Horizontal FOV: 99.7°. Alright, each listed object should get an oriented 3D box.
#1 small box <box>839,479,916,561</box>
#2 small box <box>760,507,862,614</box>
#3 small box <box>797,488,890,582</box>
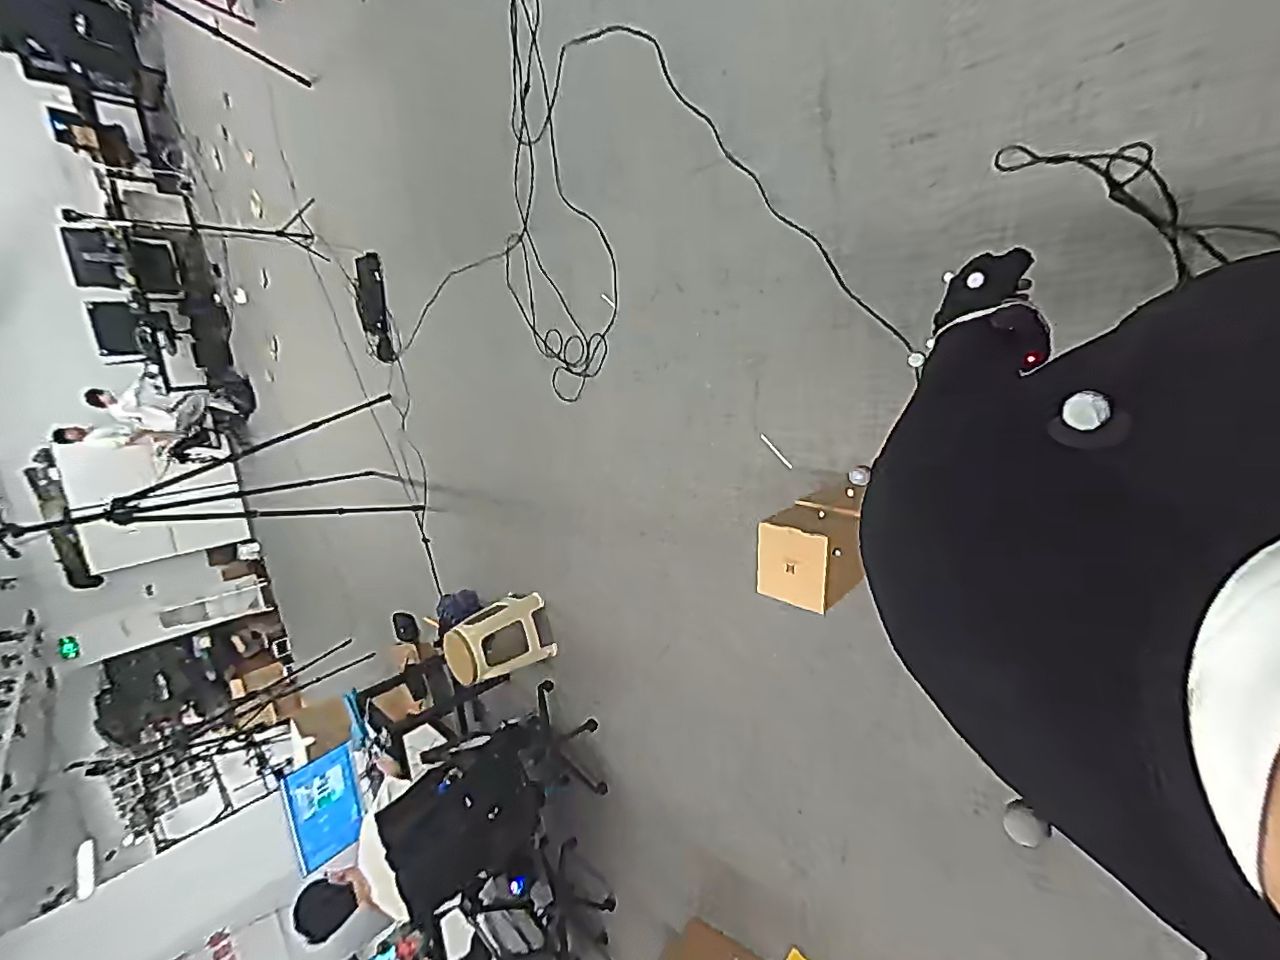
[{"bbox_3d":[0.621,0.099,1.448,0.179,0.176,0.168,10,109,43],"label":"small box"},{"bbox_3d":[0.390,0.174,1.230,0.168,0.176,0.179,11,109,43],"label":"small box"},{"bbox_3d":[0.502,0.132,1.340,0.168,0.176,0.179,12,109,43],"label":"small box"}]
